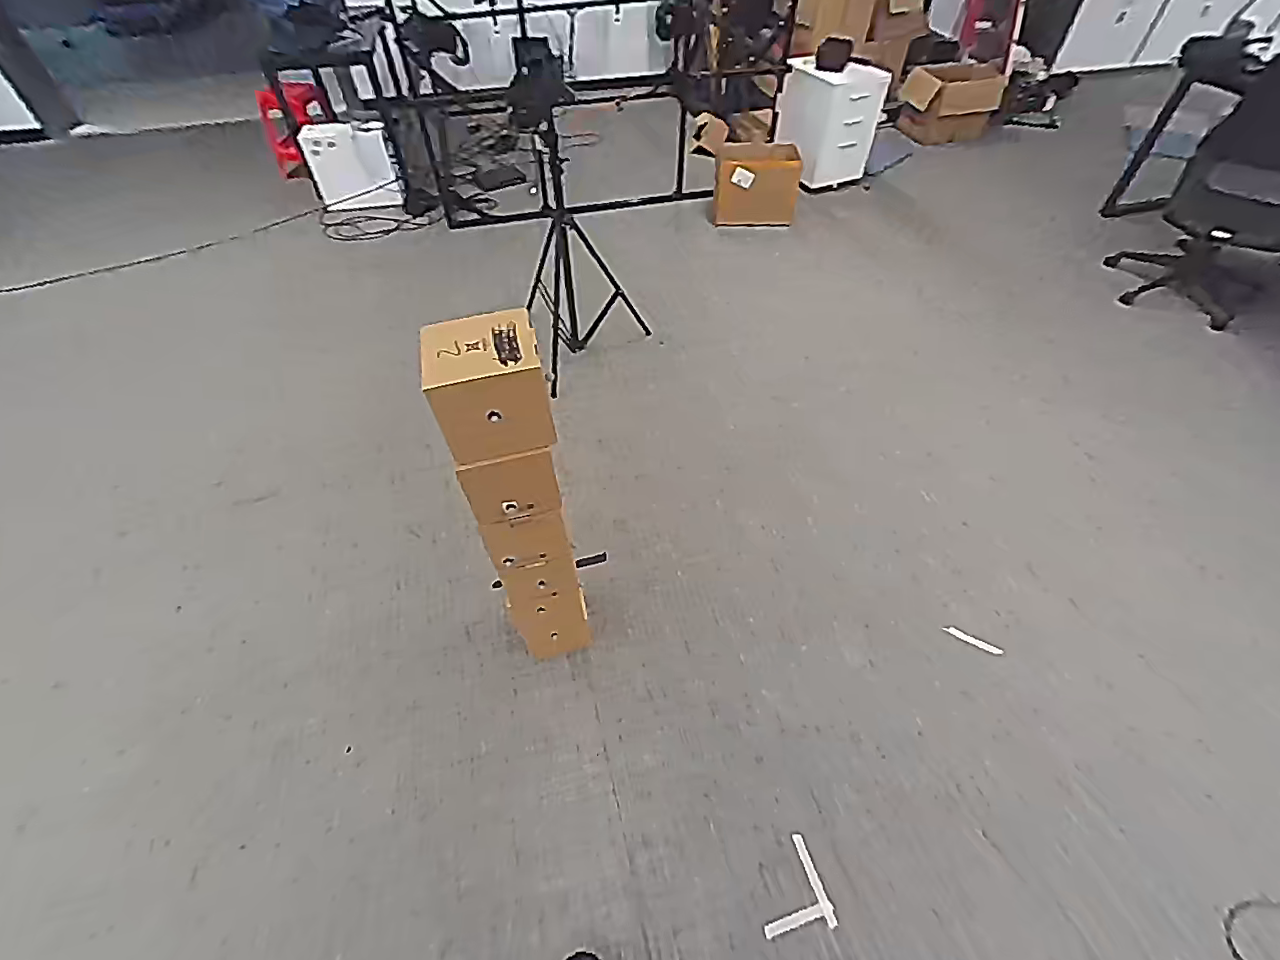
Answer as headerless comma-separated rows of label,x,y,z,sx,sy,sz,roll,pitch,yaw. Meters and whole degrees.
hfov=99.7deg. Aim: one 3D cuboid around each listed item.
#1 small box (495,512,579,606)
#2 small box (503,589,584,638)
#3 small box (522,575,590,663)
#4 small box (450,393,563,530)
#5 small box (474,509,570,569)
small box,-0.242,0.178,1.266,0.168,0.176,0.179,-11,51,-8
small box,-0.248,0.287,1.387,0.179,0.176,0.168,-10,51,-7
small box,-0.240,0.388,1.516,0.179,0.176,0.168,-12,51,-9
small box,-0.248,-0.034,1.017,0.168,0.176,0.179,-14,52,-9
small box,-0.248,0.071,1.141,0.168,0.176,0.179,-12,50,-8
